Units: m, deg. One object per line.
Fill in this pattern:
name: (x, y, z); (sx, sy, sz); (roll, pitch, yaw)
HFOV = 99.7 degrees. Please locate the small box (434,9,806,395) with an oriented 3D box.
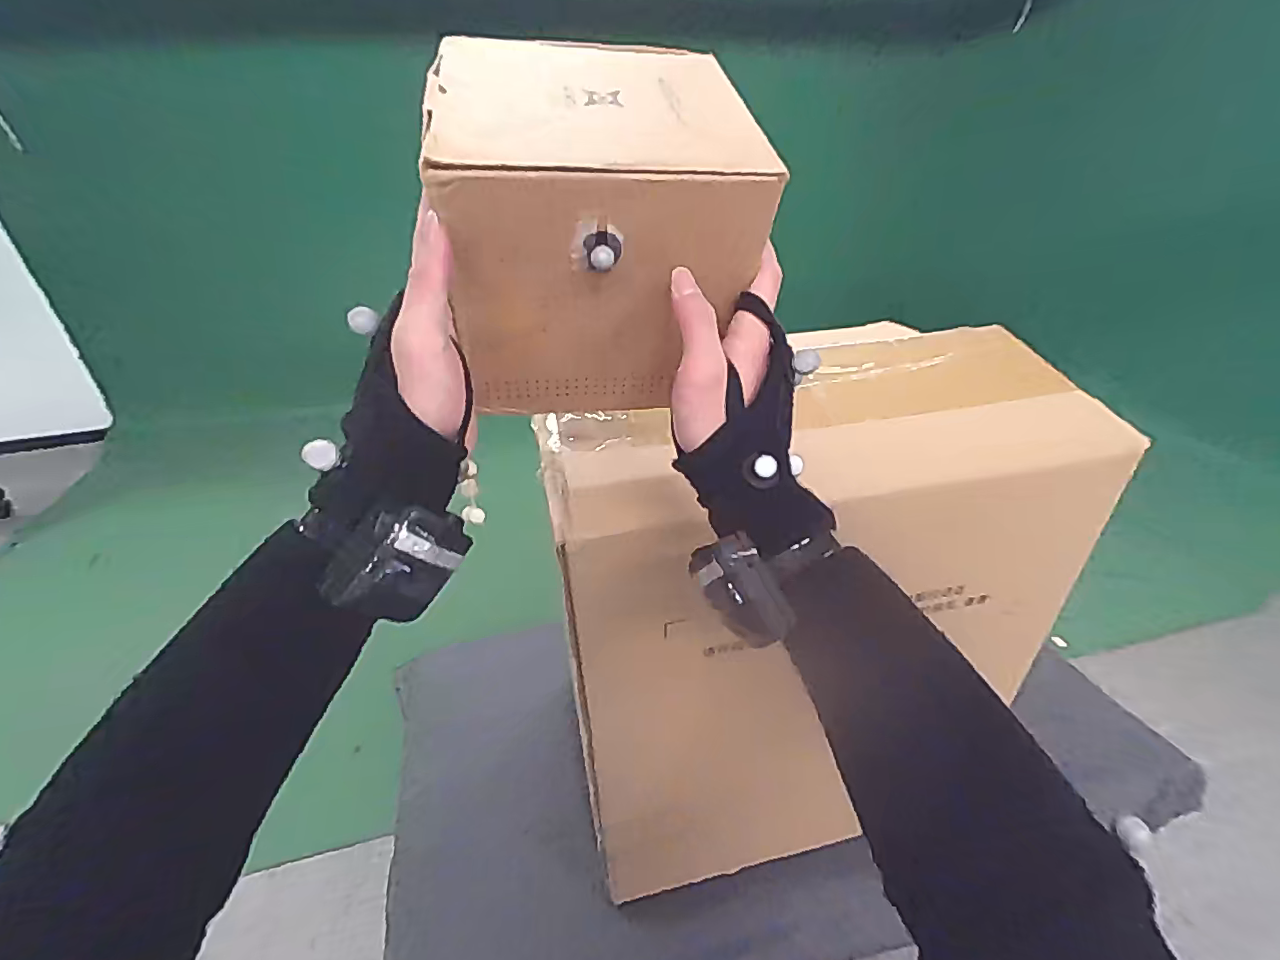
small box: (-0.025, -0.169, 0.354); (0.179, 0.176, 0.168); (-3, 55, -12)
